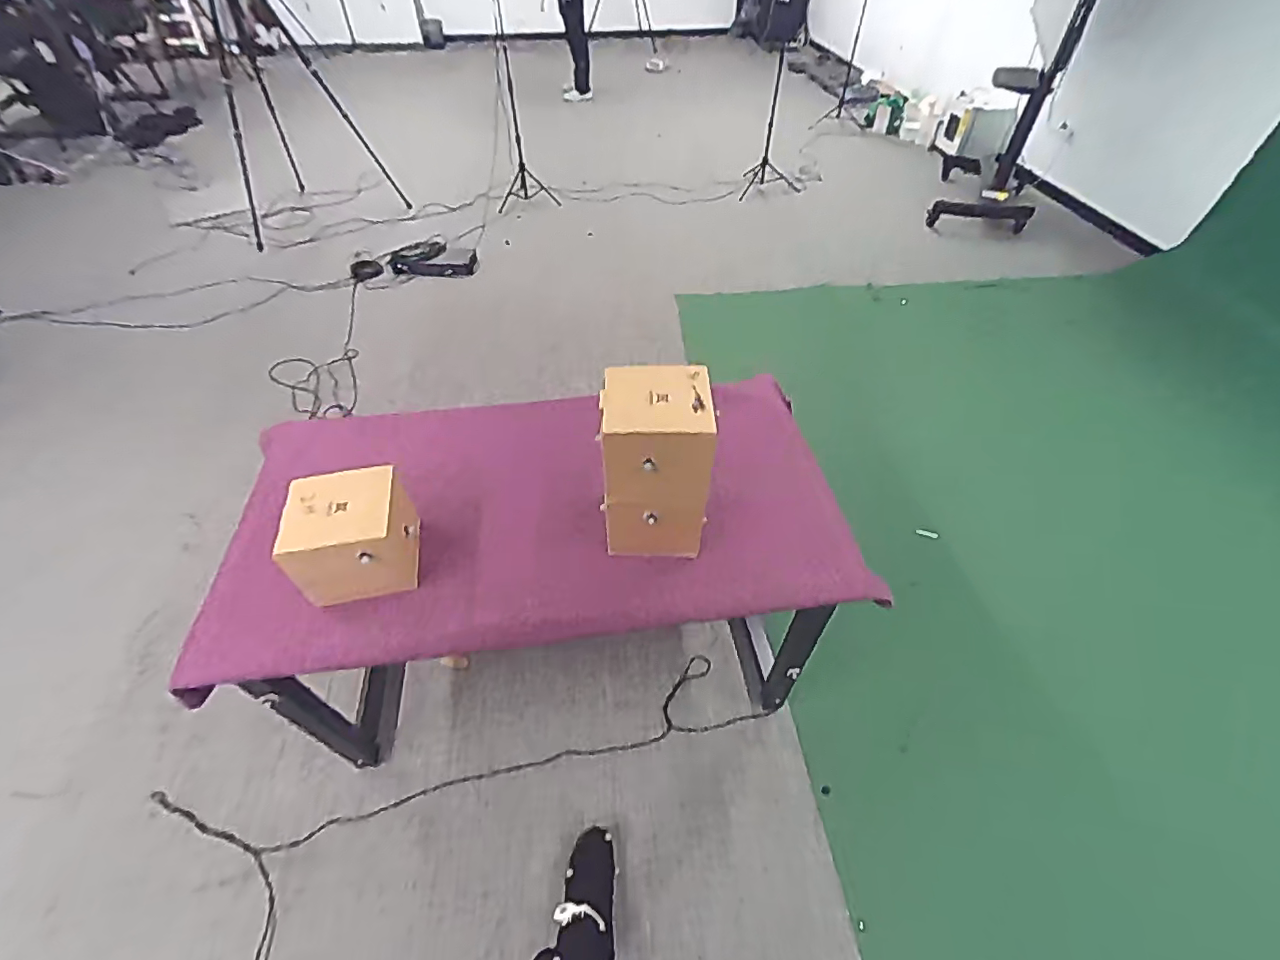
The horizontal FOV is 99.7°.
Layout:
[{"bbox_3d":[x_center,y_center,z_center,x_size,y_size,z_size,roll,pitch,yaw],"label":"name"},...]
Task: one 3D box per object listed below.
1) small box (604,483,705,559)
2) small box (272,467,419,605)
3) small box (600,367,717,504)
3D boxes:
[{"bbox_3d":[0.029,0.037,1.031,0.179,0.176,0.168,2,48,1],"label":"small box"},{"bbox_3d":[-0.509,0.102,0.967,0.179,0.176,0.168,-10,49,-8],"label":"small box"},{"bbox_3d":[0.030,-0.071,0.909,0.179,0.176,0.168,-1,49,0],"label":"small box"}]
